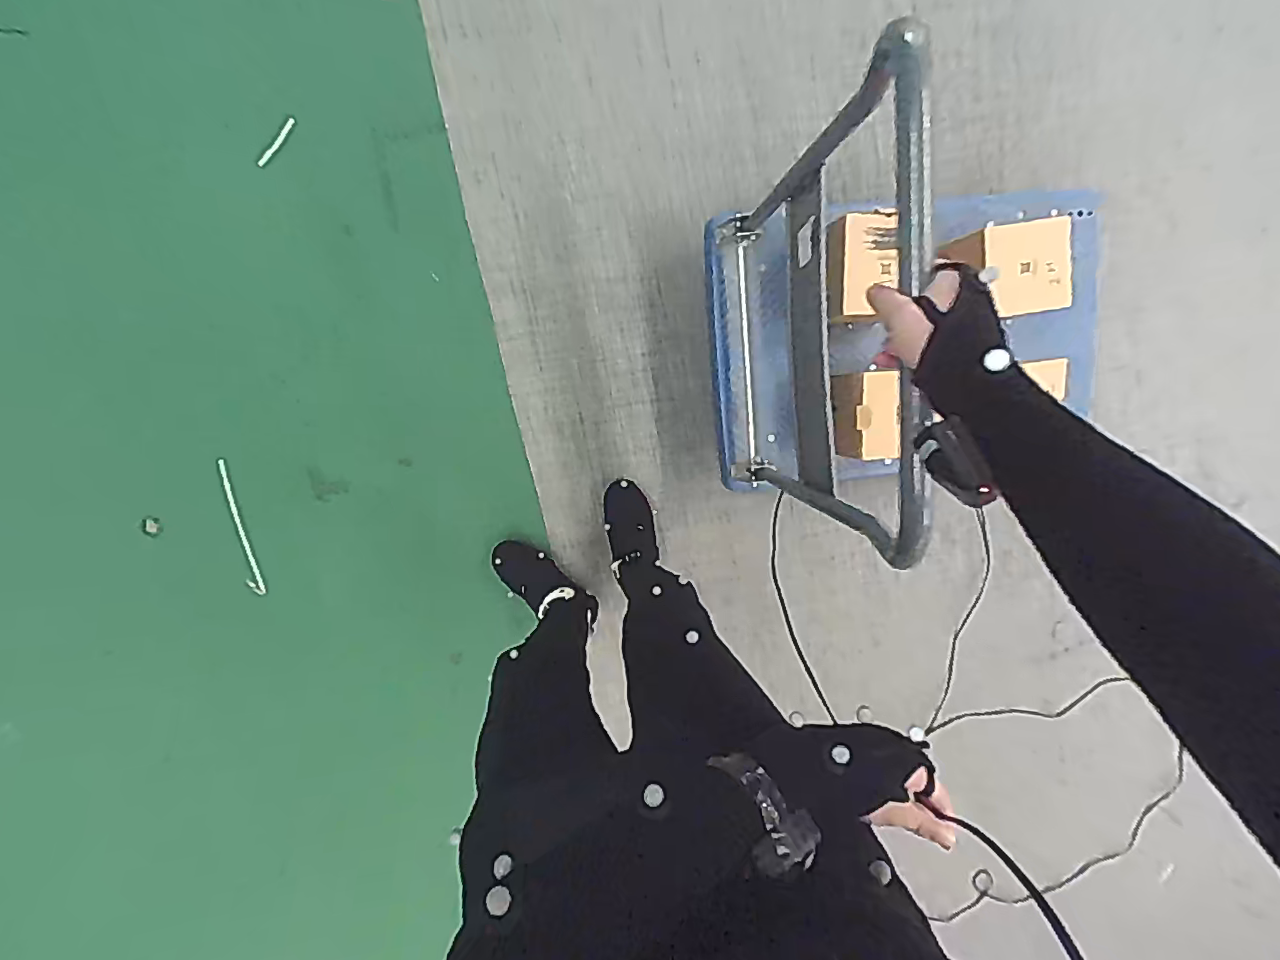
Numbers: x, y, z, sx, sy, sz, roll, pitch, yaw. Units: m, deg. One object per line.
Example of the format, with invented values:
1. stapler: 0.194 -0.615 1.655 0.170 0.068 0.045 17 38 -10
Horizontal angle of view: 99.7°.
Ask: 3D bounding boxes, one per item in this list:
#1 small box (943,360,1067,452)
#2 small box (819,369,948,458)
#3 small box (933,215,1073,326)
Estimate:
1. small box: 0.730 -0.155 1.117 0.179 0.176 0.168 -7 99 -5
2. small box: 0.483 -0.139 1.091 0.179 0.176 0.168 -4 99 -6
3. small box: 0.709 -0.406 1.073 0.179 0.176 0.168 -9 101 -6
